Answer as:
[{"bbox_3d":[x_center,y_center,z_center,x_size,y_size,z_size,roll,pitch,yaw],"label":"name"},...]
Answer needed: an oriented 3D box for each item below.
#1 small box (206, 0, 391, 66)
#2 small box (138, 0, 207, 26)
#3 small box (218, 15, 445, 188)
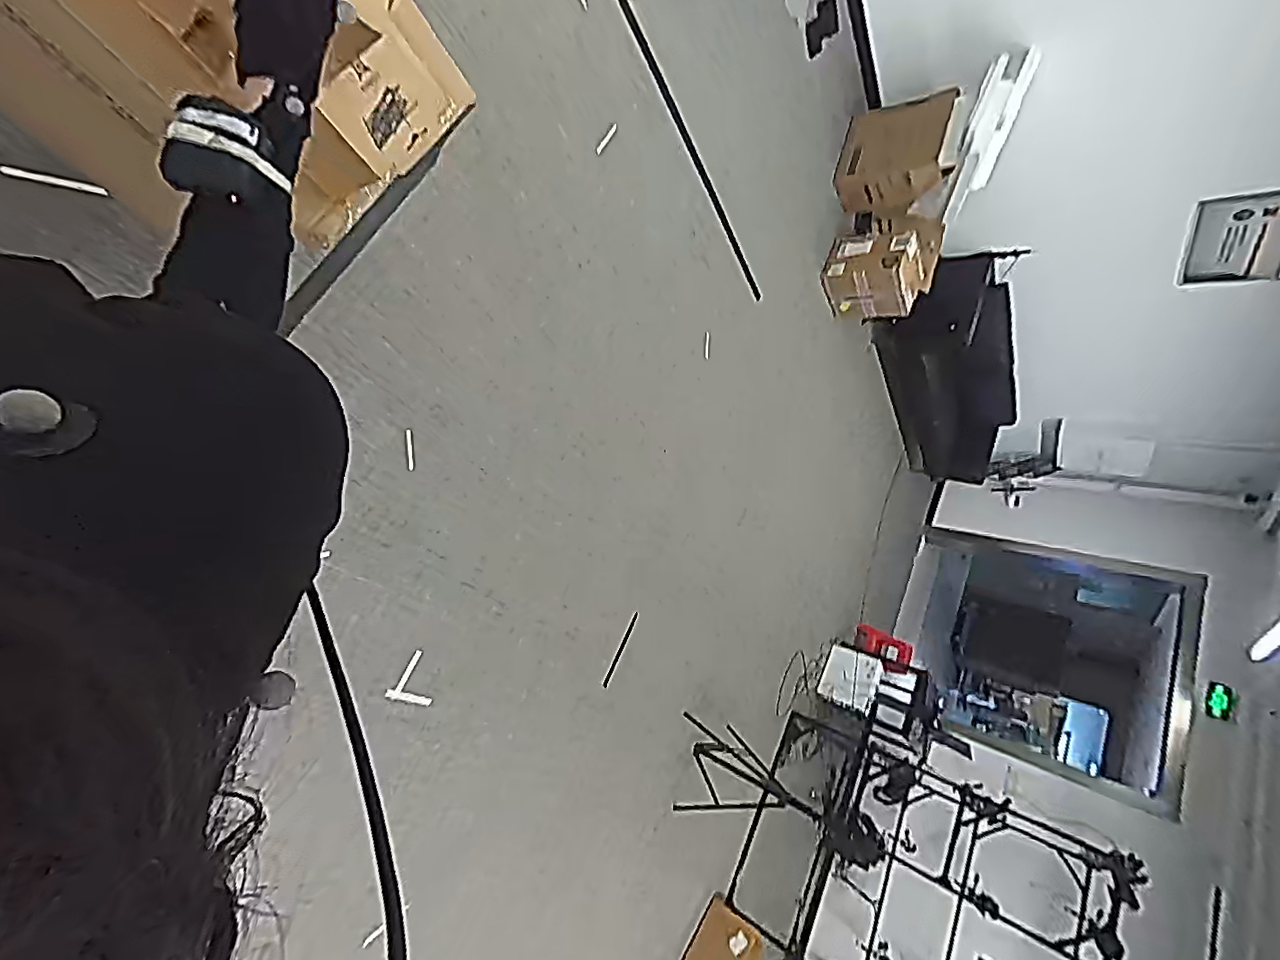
[{"bbox_3d":[-0.351,-0.550,0.525,0.179,0.176,0.168,19,84,-51],"label":"small box"},{"bbox_3d":[-0.516,-0.638,0.564,0.179,0.176,0.168,43,67,-48],"label":"small box"},{"bbox_3d":[-0.408,-0.520,0.721,0.179,0.176,0.168,47,63,-43],"label":"small box"}]
